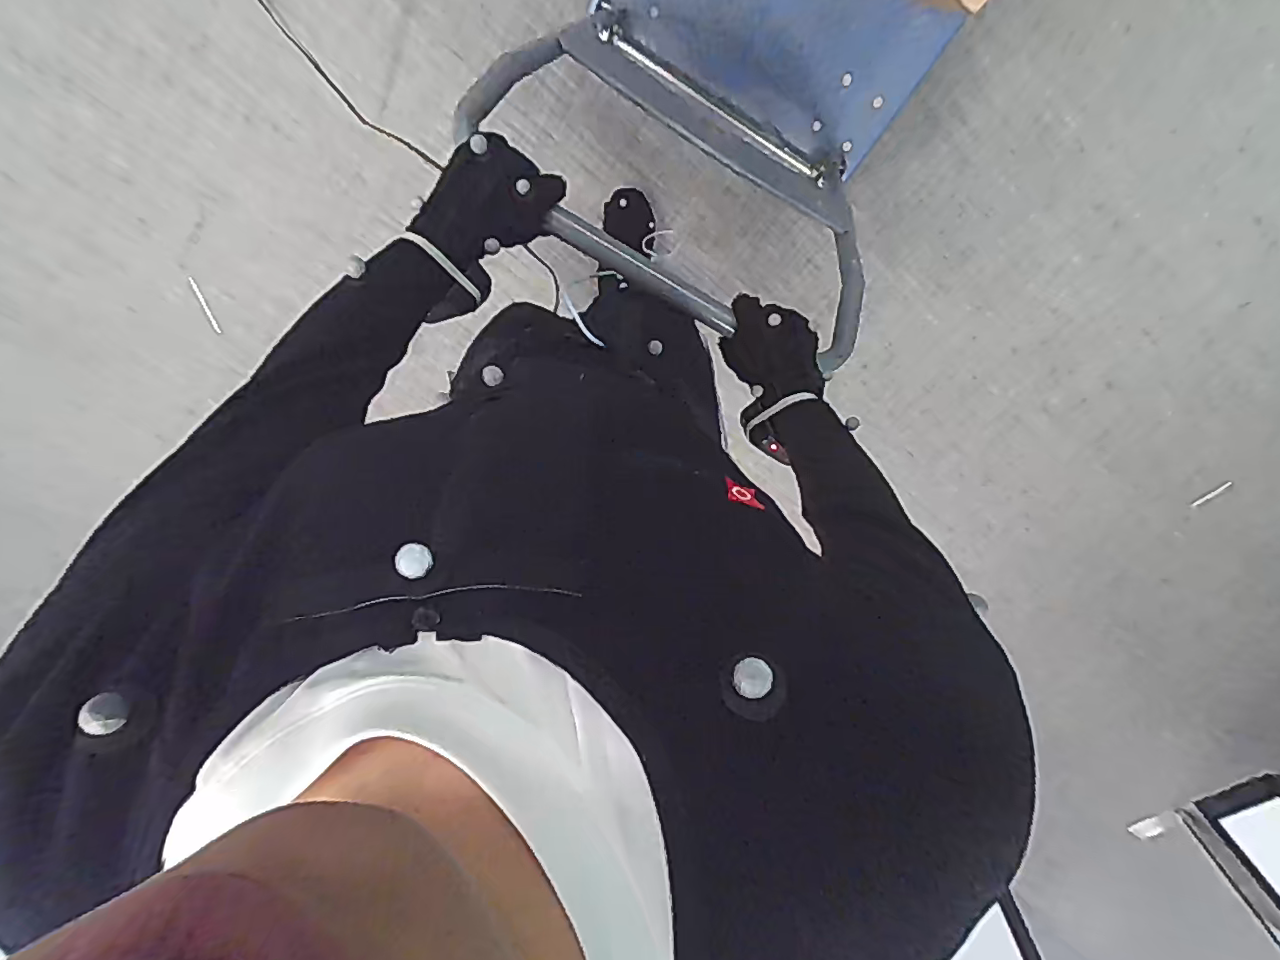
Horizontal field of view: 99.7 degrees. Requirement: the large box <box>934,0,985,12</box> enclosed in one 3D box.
[{"bbox_3d":[0.354,-0.856,0.629,0.408,0.320,0.320,31,132,-14],"label":"large box"}]
